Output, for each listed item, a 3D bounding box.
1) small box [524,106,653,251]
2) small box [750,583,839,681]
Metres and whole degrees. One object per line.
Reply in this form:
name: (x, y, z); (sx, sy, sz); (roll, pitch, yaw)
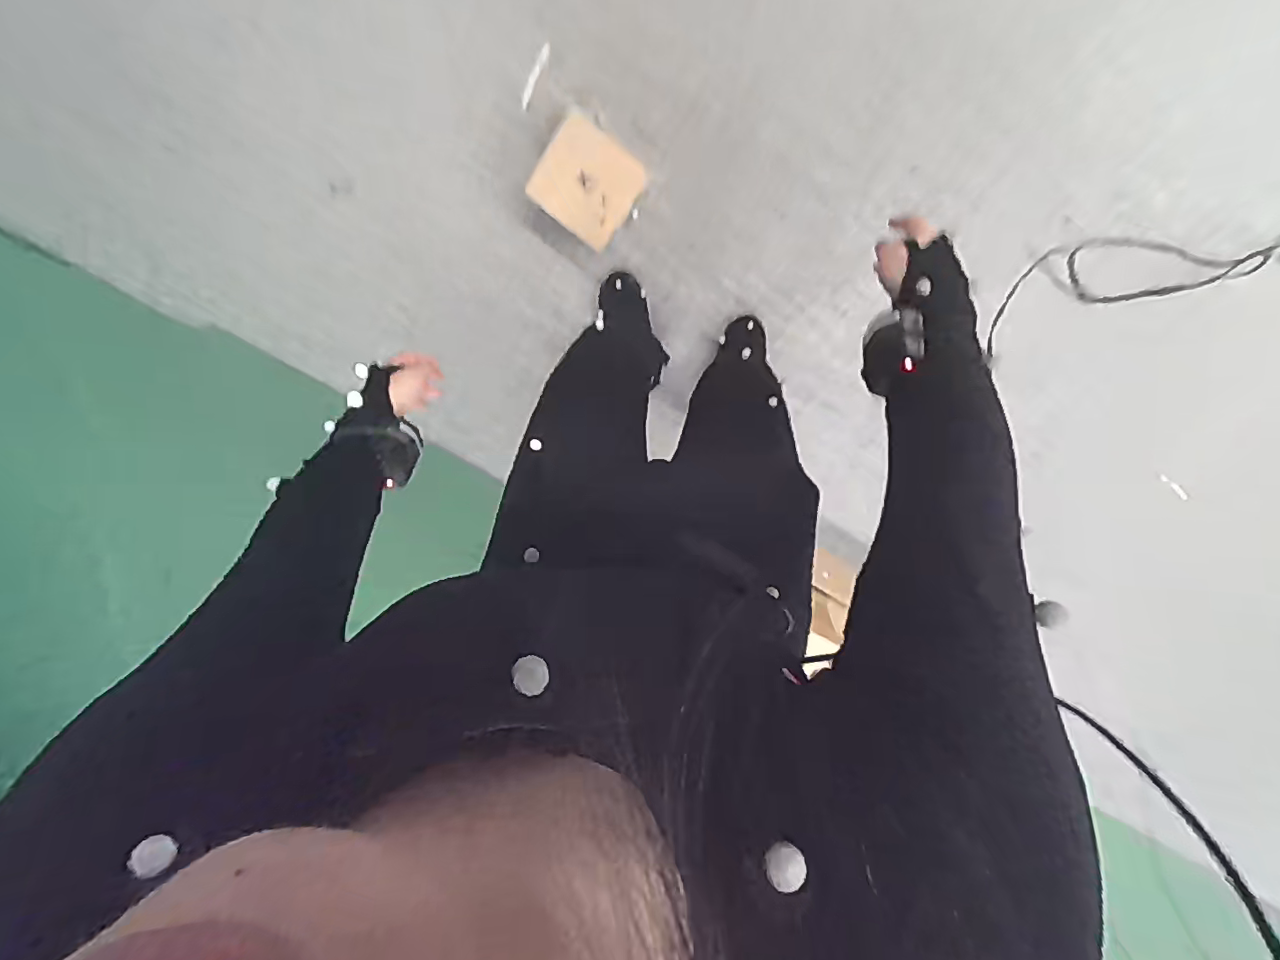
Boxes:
small box: (-0.091, -0.577, 1.045); (0.179, 0.176, 0.168); (35, 119, -15)
small box: (0.430, 0.430, 1.542); (0.168, 0.176, 0.179); (29, 117, -13)
